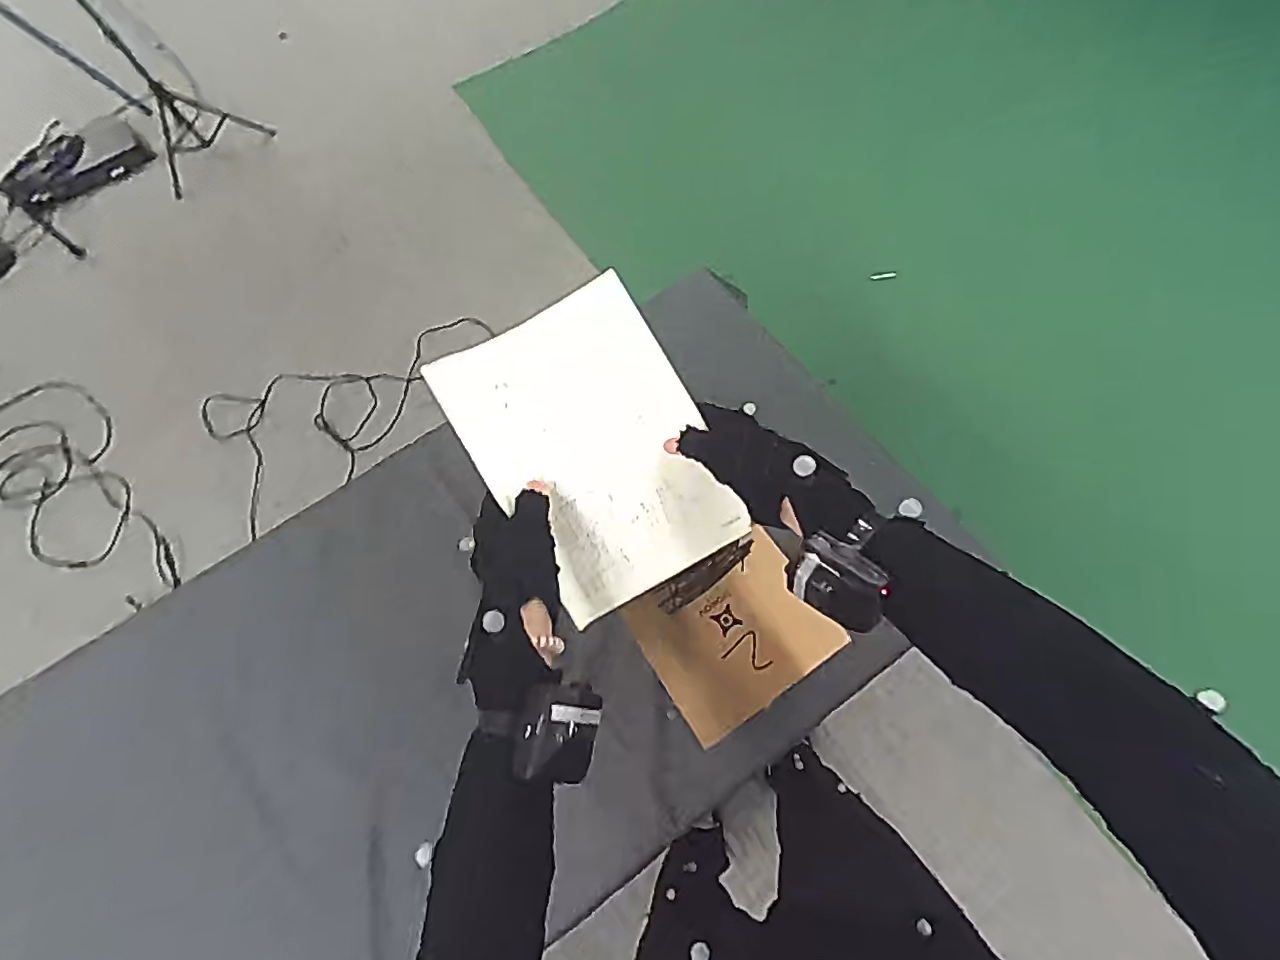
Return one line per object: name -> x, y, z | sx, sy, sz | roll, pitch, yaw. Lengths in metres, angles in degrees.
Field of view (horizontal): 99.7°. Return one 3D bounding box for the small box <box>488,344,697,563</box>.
small box -> -0.050, -0.024, 0.660 | 0.179, 0.176, 0.168 | -34, 70, -8
